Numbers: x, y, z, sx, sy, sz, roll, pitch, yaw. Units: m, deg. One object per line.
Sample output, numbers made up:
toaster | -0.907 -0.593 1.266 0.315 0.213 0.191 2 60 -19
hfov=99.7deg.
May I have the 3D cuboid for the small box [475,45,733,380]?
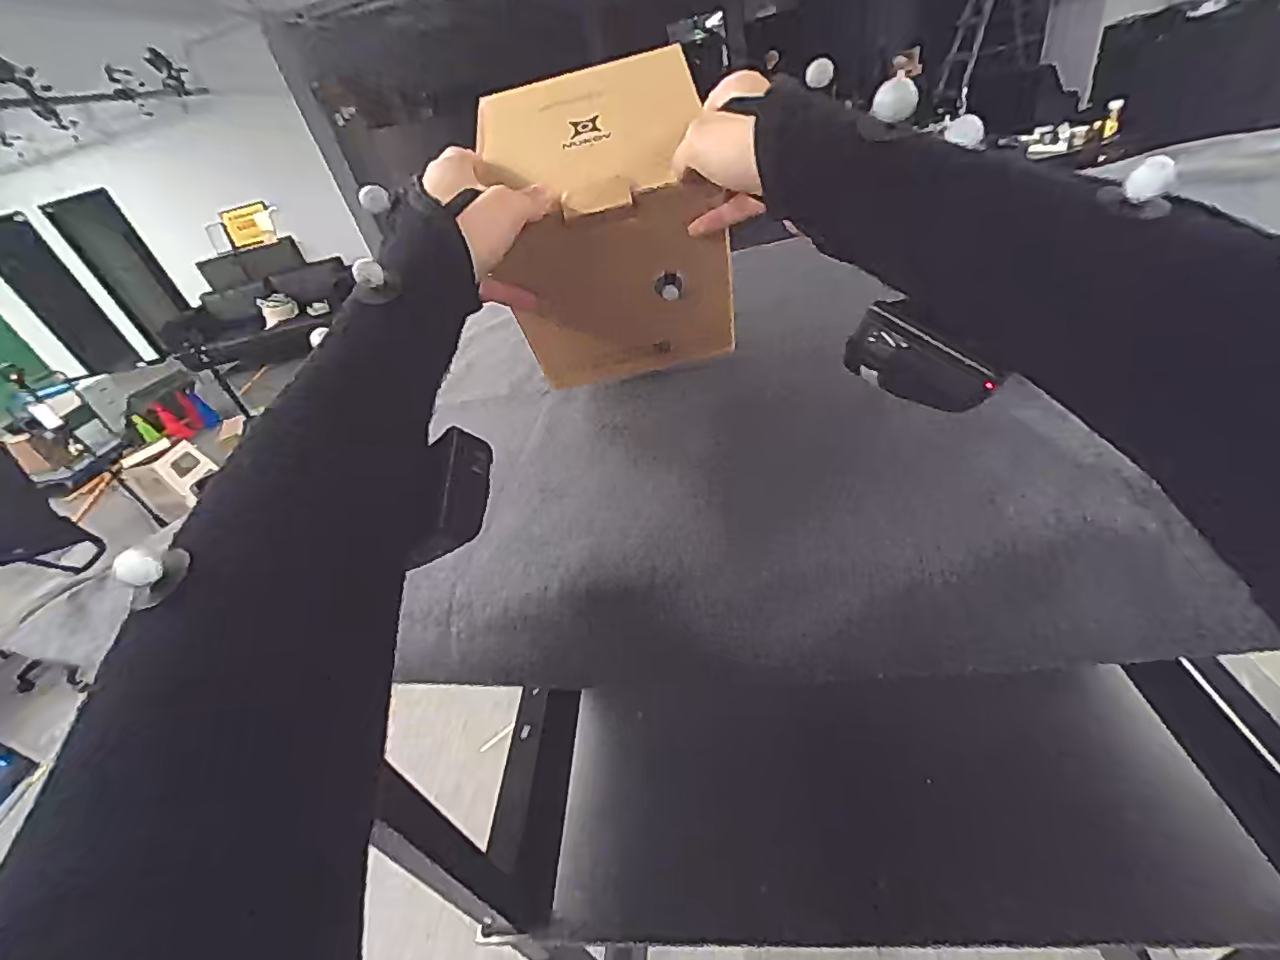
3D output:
small box | -0.021 -0.202 0.446 0.168 0.176 0.179 -12 60 5
